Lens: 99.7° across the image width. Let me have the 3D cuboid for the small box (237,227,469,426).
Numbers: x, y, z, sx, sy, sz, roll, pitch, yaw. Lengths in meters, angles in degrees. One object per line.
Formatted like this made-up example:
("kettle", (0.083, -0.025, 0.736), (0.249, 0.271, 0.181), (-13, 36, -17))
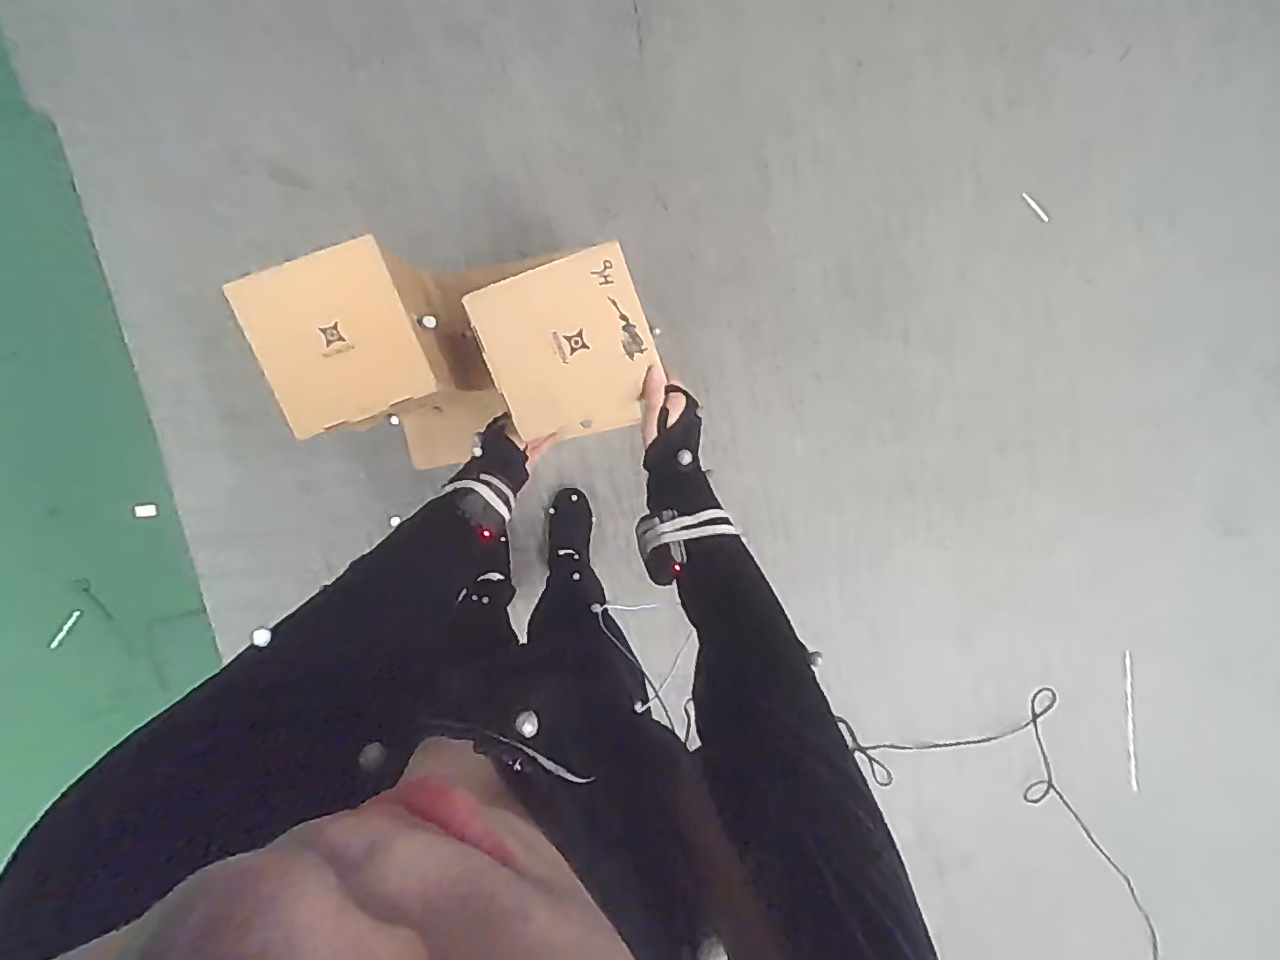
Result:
("small box", (-0.330, -0.177, 0.663), (0.168, 0.176, 0.179), (-20, 102, -3))
